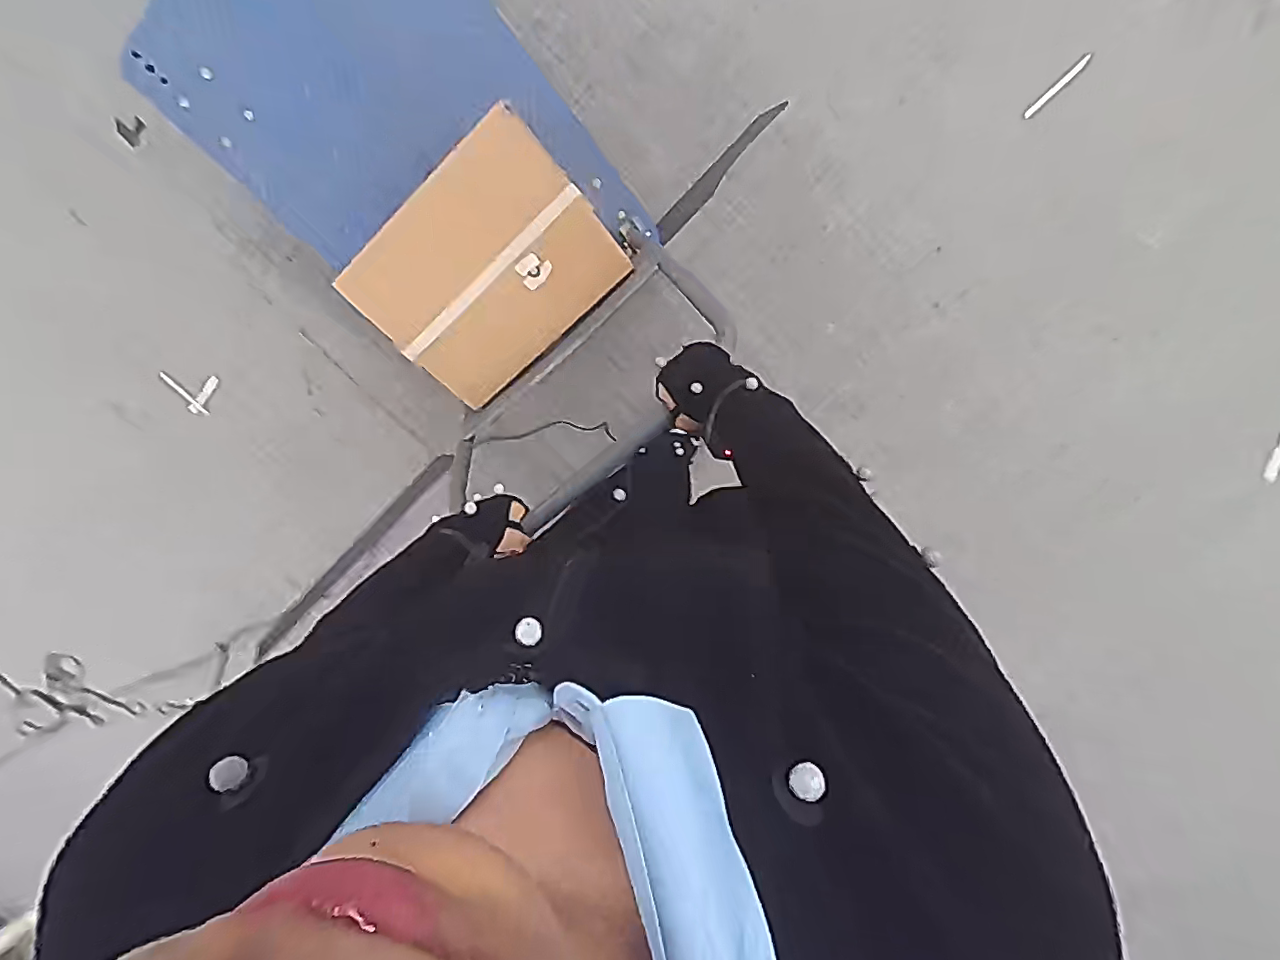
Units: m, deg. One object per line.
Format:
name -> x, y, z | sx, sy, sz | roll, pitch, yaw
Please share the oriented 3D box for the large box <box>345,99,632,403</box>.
large box -> -0.278, -0.432, 1.059 | 0.408, 0.320, 0.320 | -40, 119, 12
